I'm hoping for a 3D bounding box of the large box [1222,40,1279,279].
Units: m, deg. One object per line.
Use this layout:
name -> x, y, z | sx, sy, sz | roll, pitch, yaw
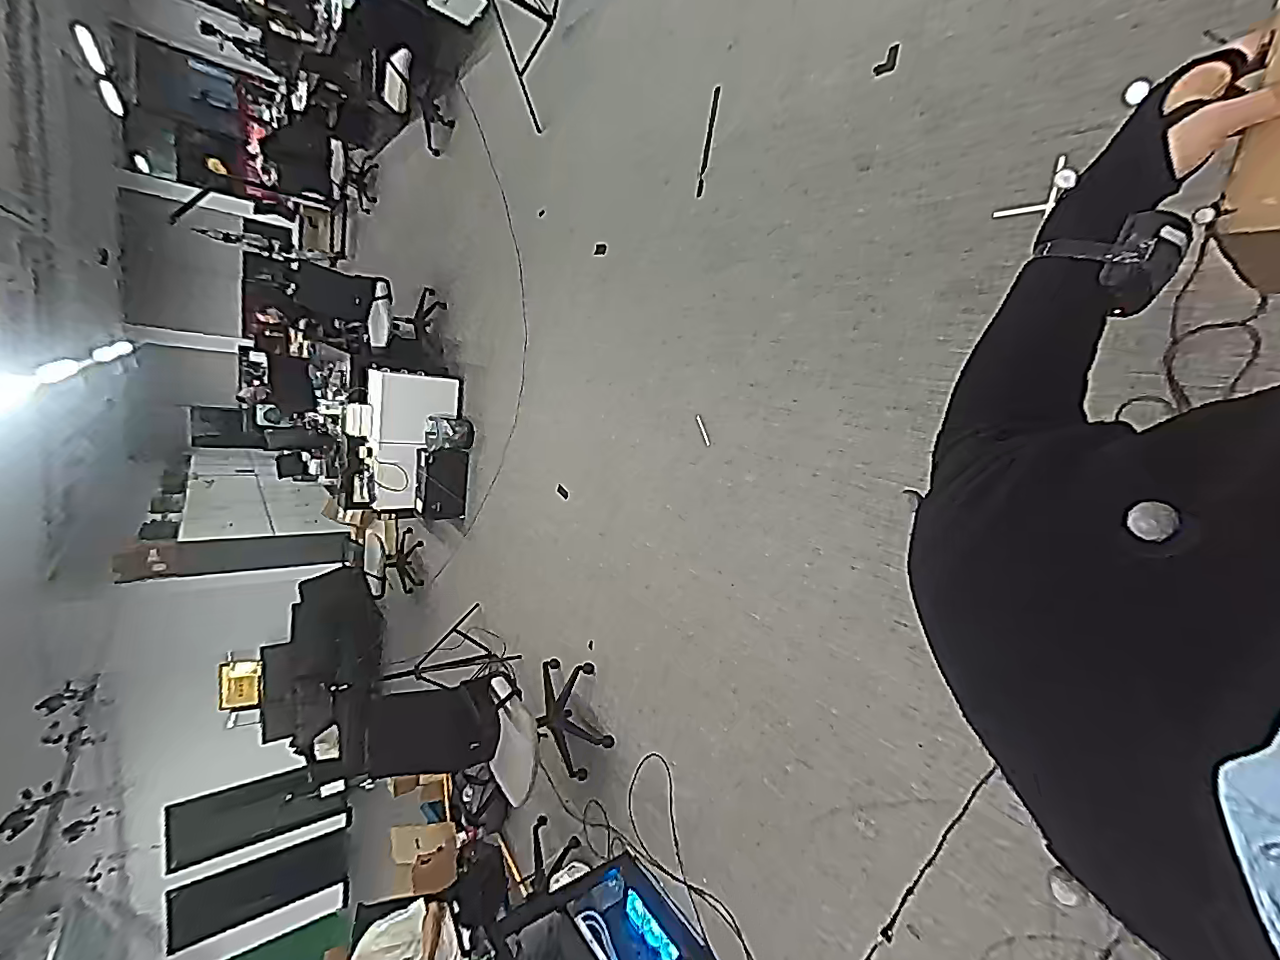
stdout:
large box -> 0.685, -0.298, 0.301 | 0.408, 0.320, 0.320 | 24, 111, 51
